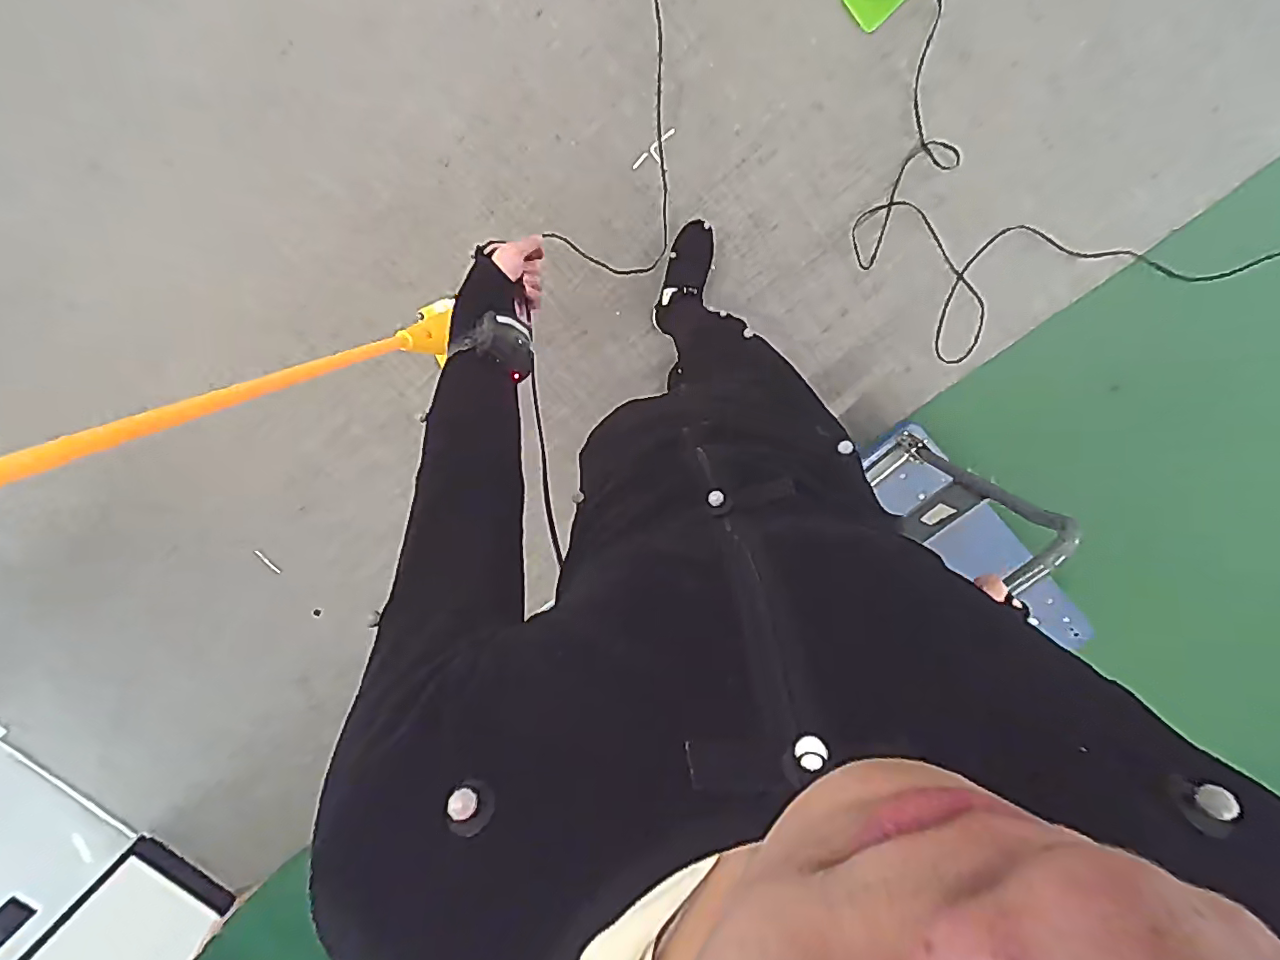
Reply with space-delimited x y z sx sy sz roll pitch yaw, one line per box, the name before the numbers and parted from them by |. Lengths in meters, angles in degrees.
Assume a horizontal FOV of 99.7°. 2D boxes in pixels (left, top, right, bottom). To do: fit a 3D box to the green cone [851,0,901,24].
green cone | 0.535 -1.125 1.048 0.202 0.368 0.200 -42 101 13
